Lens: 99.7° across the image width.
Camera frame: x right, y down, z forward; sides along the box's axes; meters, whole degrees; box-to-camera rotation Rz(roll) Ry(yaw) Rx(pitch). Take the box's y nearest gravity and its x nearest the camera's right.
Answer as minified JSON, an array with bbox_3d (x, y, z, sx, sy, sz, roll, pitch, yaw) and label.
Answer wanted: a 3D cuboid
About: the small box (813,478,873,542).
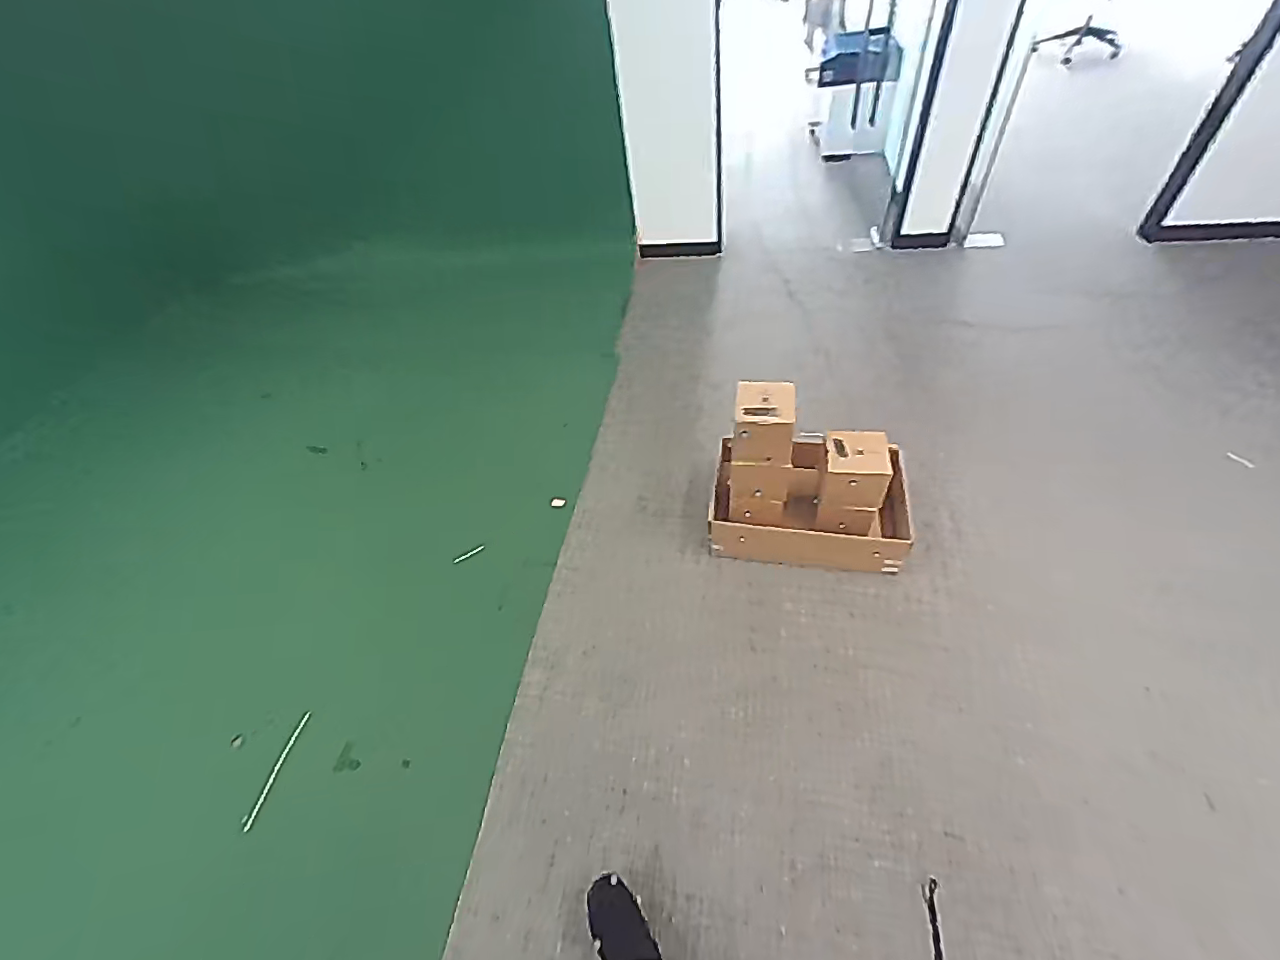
[{"bbox_3d":[0.665,0.084,1.778,0.168,0.176,0.179,5,51,13],"label":"small box"}]

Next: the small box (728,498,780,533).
[{"bbox_3d":[0.390,0.062,1.837,0.168,0.176,0.179,5,50,12],"label":"small box"}]

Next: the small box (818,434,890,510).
[{"bbox_3d":[0.644,-0.022,1.653,0.179,0.176,0.168,2,51,10],"label":"small box"}]

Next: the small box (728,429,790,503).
[{"bbox_3d":[0.374,-0.041,1.710,0.179,0.176,0.168,4,50,11],"label":"small box"}]
